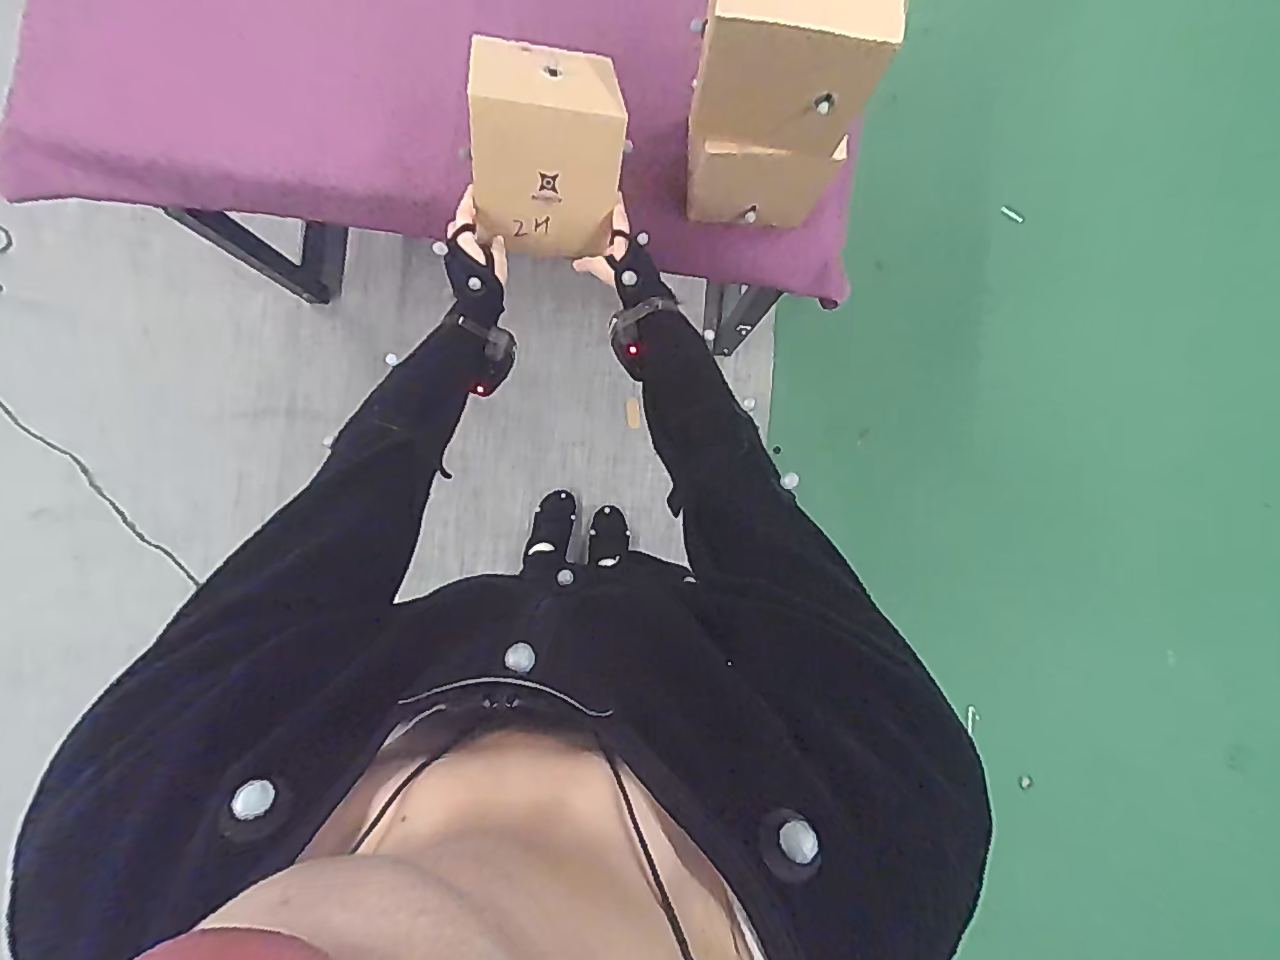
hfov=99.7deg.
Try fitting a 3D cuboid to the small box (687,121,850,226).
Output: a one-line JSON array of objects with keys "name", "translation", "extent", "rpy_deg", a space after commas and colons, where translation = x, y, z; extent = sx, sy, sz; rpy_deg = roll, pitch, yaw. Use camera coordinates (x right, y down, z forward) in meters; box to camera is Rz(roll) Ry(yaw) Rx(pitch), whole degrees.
[{"name": "small box", "translation": [0.164, -0.464, 0.730], "extent": [0.179, 0.176, 0.168], "rpy_deg": [2, 88, -3]}]

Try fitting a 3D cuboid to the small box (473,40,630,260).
[{"name": "small box", "translation": [-0.116, -0.403, 0.668], "extent": [0.168, 0.179, 0.176], "rpy_deg": [0, 55, -13]}]

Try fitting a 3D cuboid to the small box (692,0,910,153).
[{"name": "small box", "translation": [0.160, -0.478, 0.566], "extent": [0.179, 0.176, 0.168], "rpy_deg": [8, 88, -1]}]
